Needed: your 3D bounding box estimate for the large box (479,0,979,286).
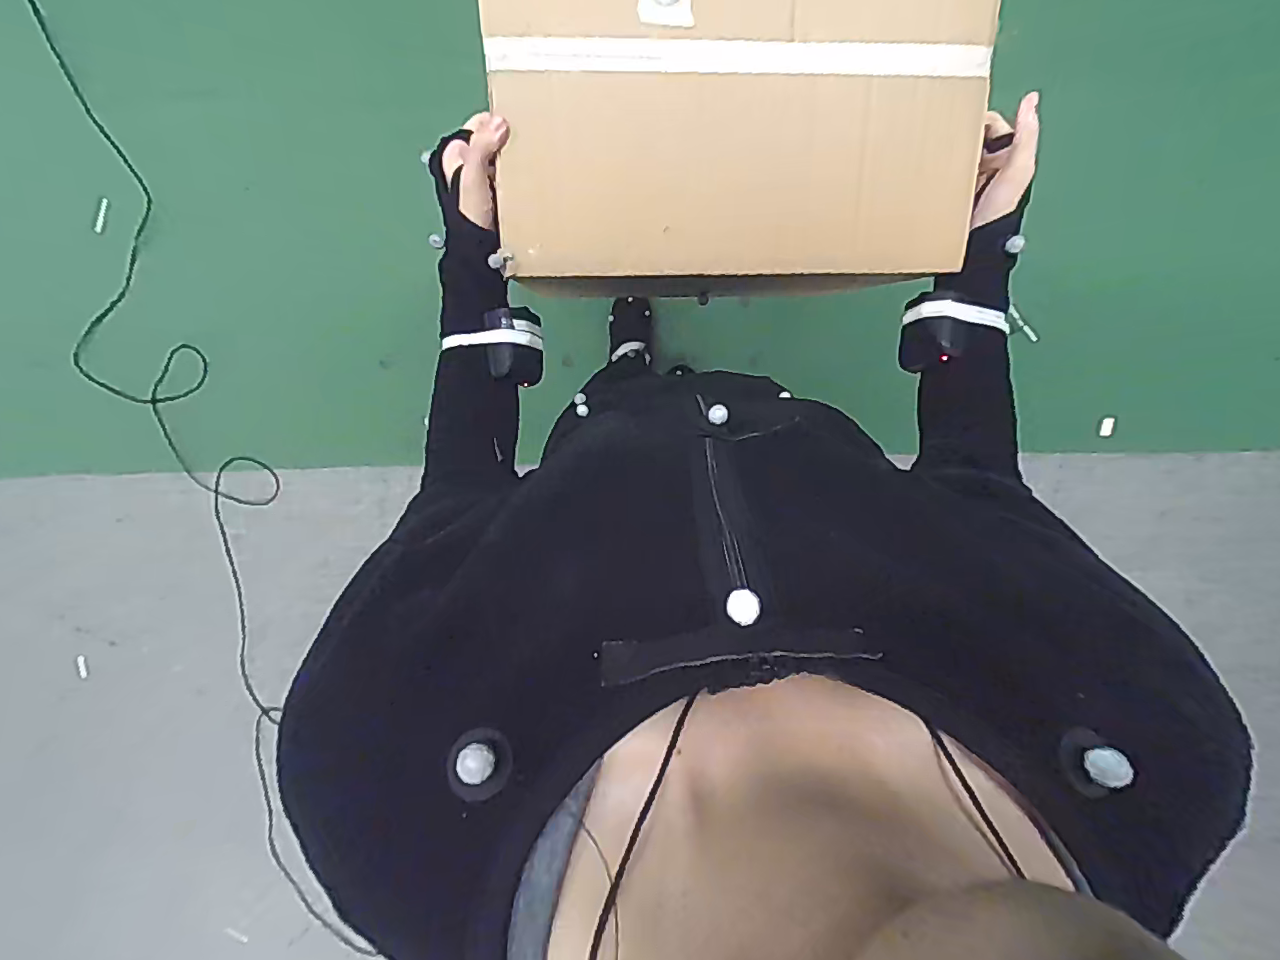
[{"bbox_3d":[0.066,-0.379,0.577,0.408,0.320,0.320,-2,106,-4],"label":"large box"}]
